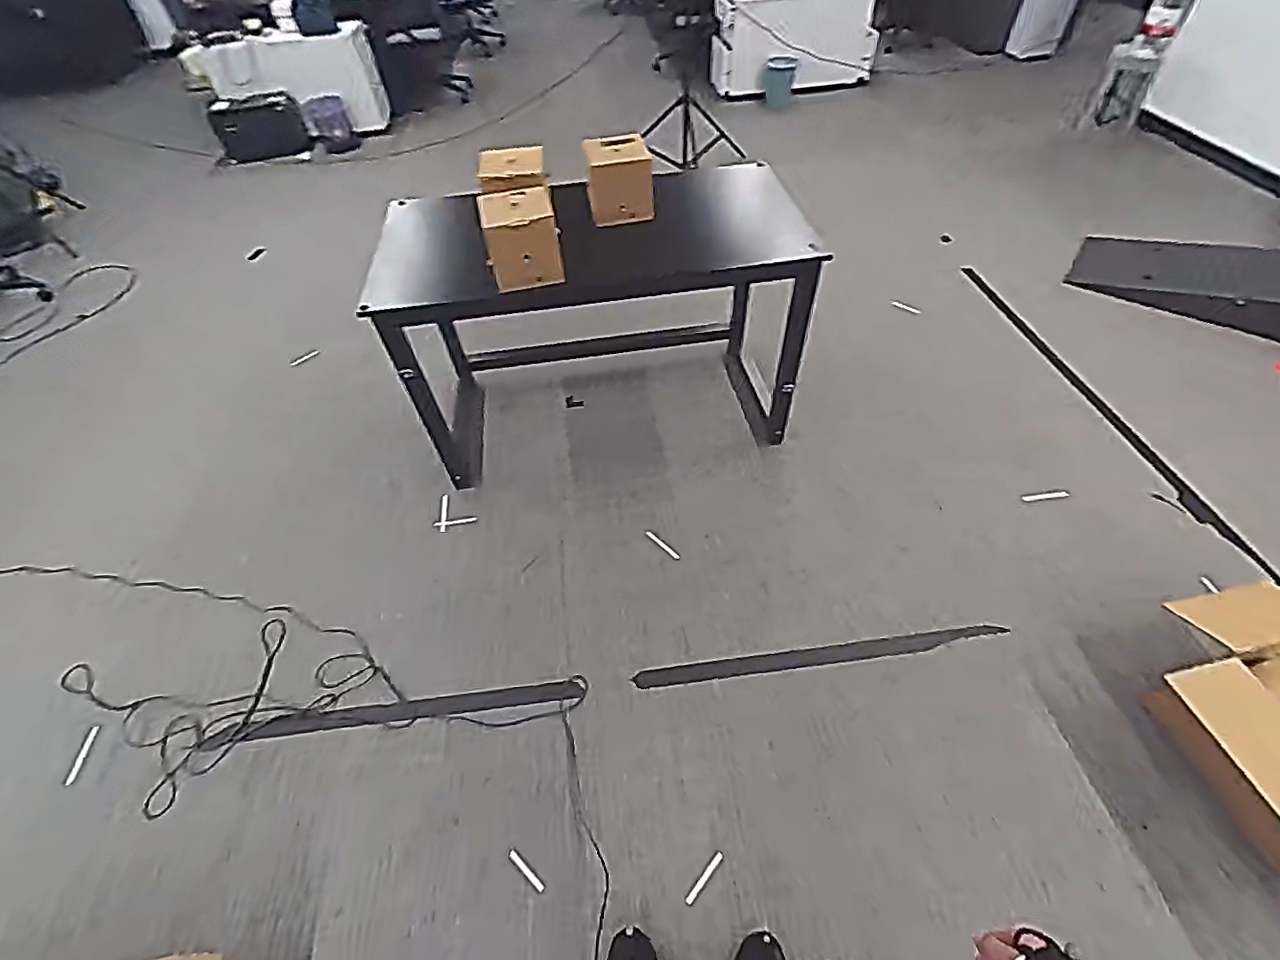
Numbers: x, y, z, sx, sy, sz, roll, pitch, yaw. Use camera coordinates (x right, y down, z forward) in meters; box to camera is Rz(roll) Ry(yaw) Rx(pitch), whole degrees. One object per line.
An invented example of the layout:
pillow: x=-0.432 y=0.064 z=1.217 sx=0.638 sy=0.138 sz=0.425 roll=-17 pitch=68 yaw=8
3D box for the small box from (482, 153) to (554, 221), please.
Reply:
small box: x=-0.341 y=-0.798 z=1.530 sx=0.168 sy=0.176 sz=0.179 roll=-7 pitch=51 yaw=-2

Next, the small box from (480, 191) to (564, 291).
small box: x=-0.294 y=-0.593 z=1.359 sx=0.168 sy=0.176 sz=0.179 roll=-13 pitch=52 yaw=-7
